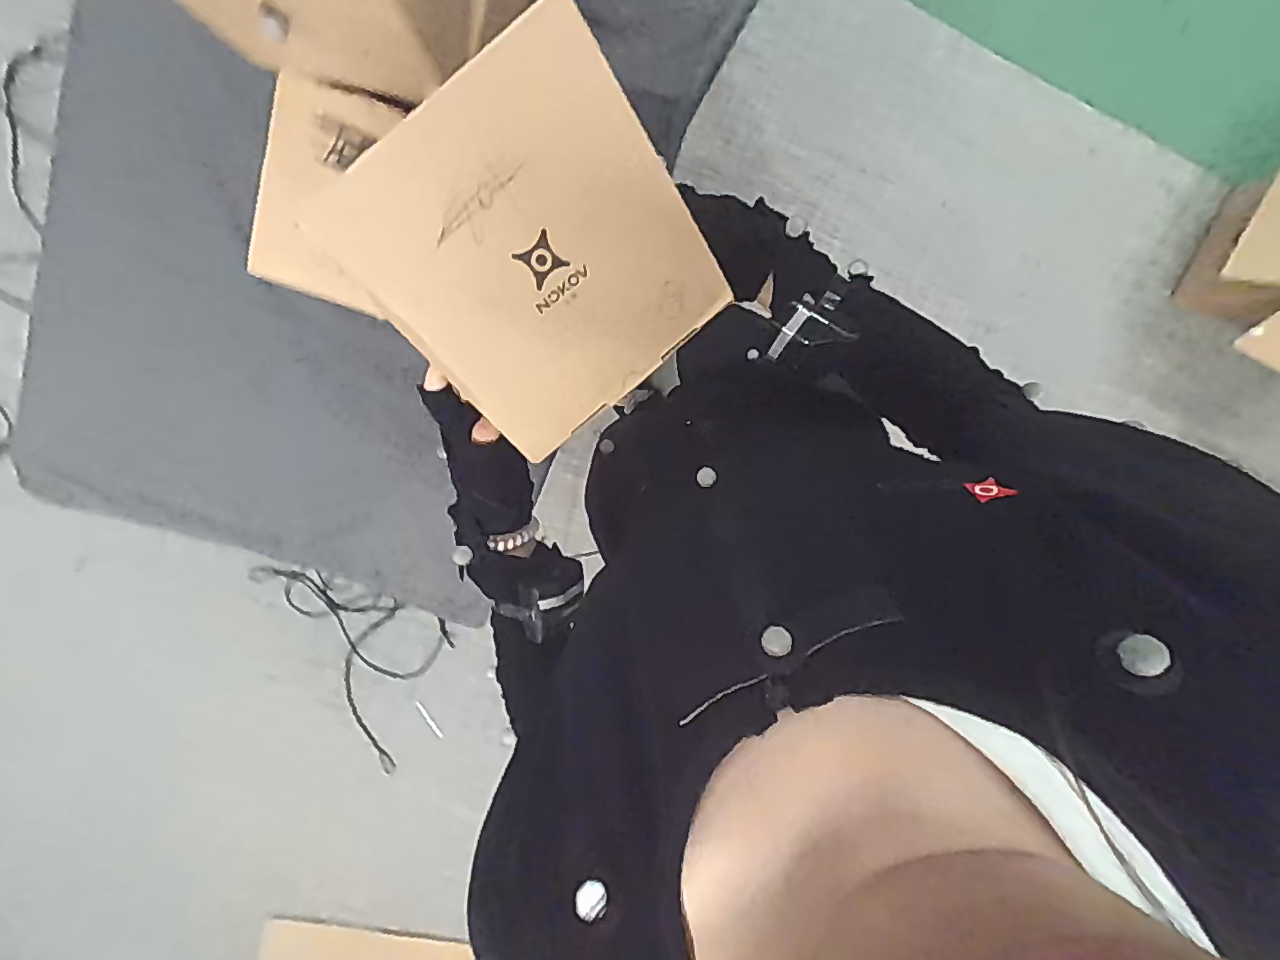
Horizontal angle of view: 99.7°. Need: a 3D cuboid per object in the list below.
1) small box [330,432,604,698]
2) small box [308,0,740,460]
[{"bbox_3d":[-0.151,0.063,0.509,0.176,0.168,0.179,23,95,3],"label":"small box"},{"bbox_3d":[-0.070,-0.151,0.358,0.168,0.176,0.179,-39,123,2],"label":"small box"}]
